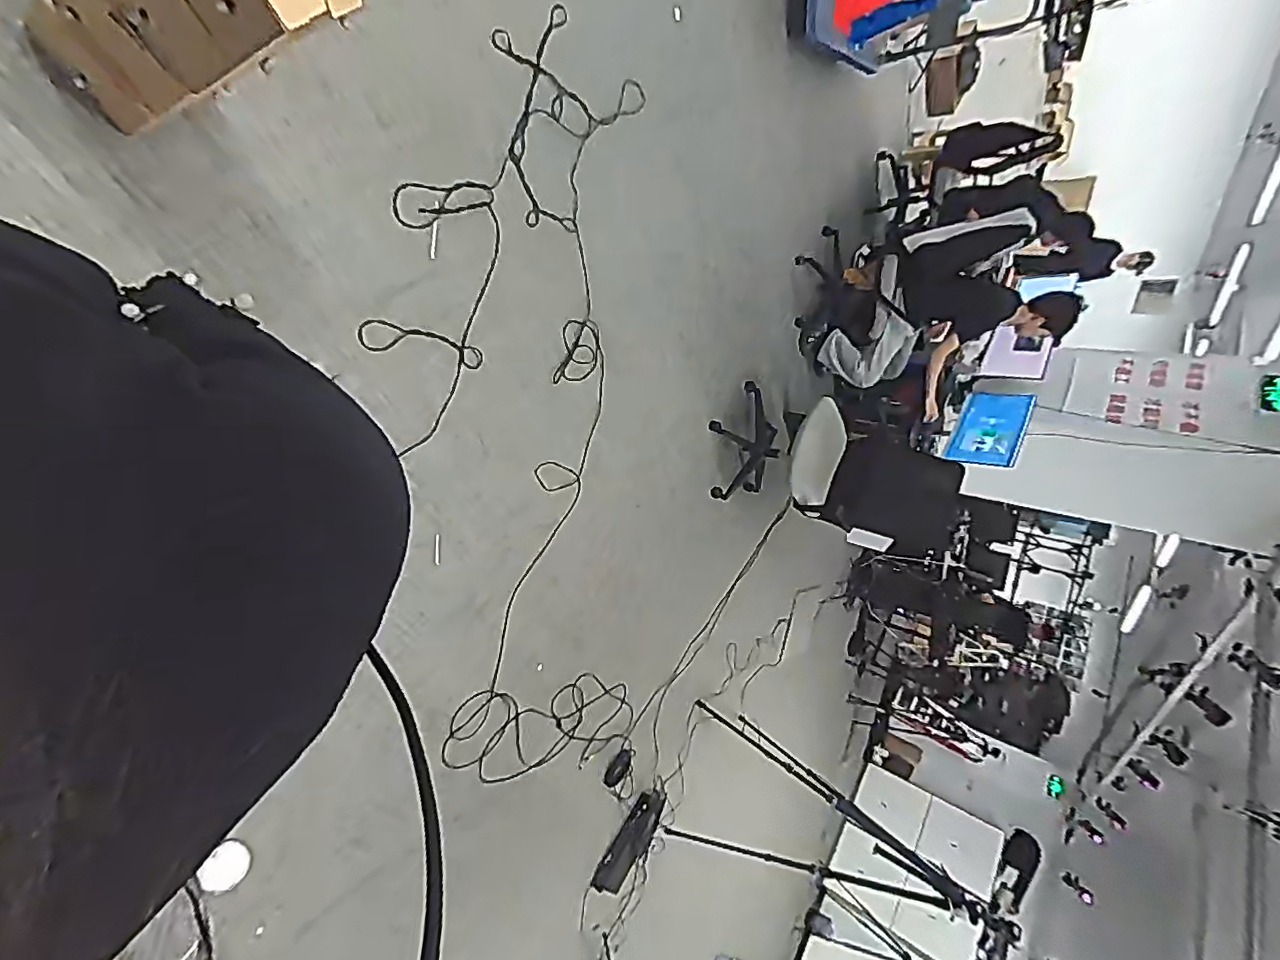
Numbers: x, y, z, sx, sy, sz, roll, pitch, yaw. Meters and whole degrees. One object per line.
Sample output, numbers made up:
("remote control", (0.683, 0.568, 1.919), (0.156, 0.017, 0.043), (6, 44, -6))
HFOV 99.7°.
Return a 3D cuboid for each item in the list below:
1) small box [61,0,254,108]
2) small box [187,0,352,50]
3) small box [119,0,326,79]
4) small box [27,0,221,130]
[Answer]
("small box", (-0.688, -0.677, 0.784), (0.179, 0.176, 0.168), (-57, 140, -25))
("small box", (-0.428, -0.614, 0.597), (0.168, 0.176, 0.179), (-56, 139, -26))
("small box", (-0.558, -0.647, 0.690), (0.168, 0.176, 0.179), (-56, 140, -25))
("small box", (-0.824, -0.703, 0.875), (0.179, 0.176, 0.168), (-56, 139, -24))
